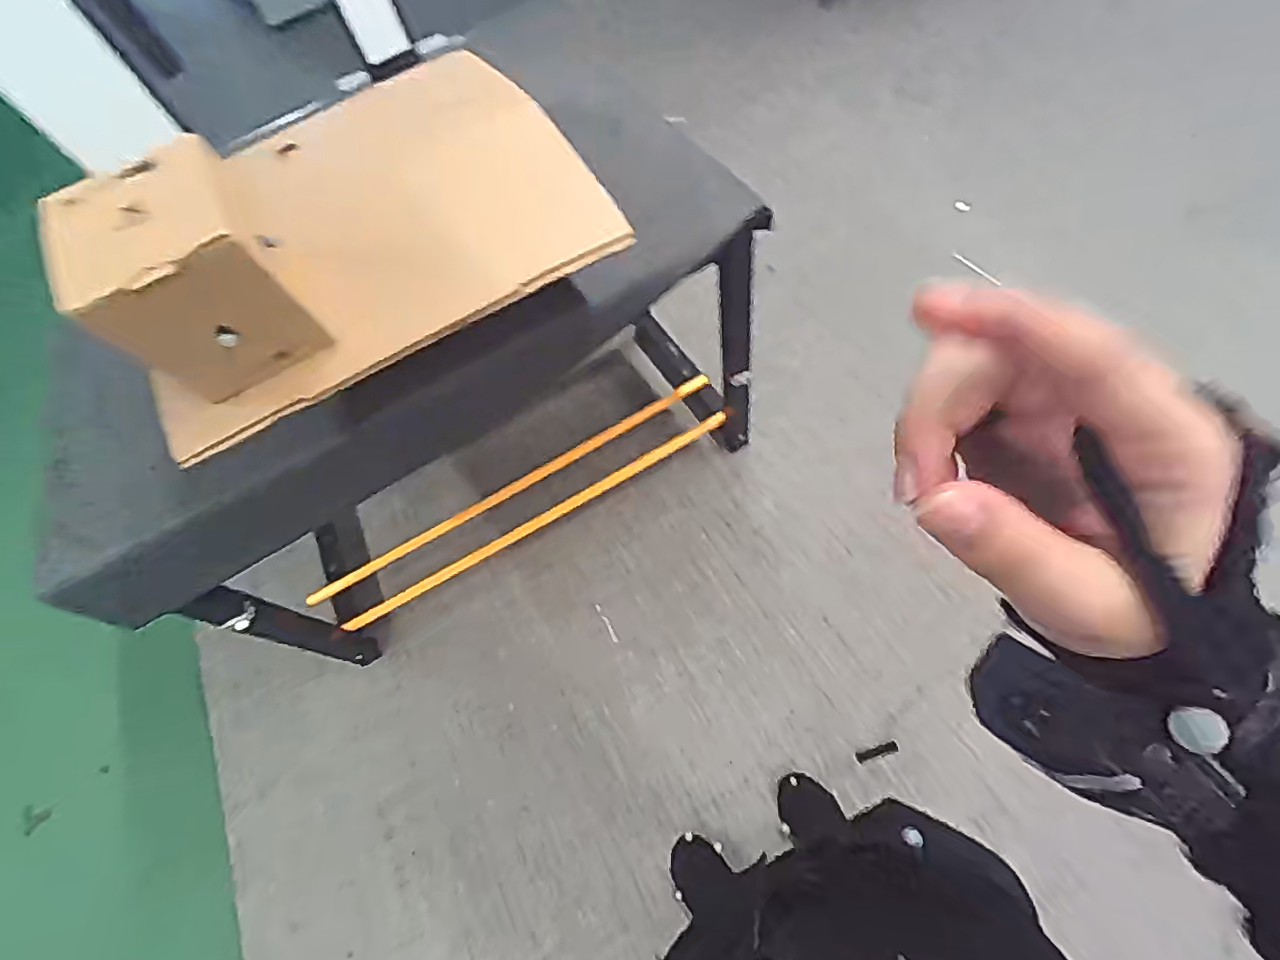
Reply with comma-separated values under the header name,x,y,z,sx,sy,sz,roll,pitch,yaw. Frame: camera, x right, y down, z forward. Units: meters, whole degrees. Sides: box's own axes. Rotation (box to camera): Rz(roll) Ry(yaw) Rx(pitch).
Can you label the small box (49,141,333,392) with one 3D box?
name,x,y,z,sx,sy,sz,roll,pitch,yaw
small box,-0.486,-0.223,0.608,0.168,0.176,0.179,-30,70,-7
